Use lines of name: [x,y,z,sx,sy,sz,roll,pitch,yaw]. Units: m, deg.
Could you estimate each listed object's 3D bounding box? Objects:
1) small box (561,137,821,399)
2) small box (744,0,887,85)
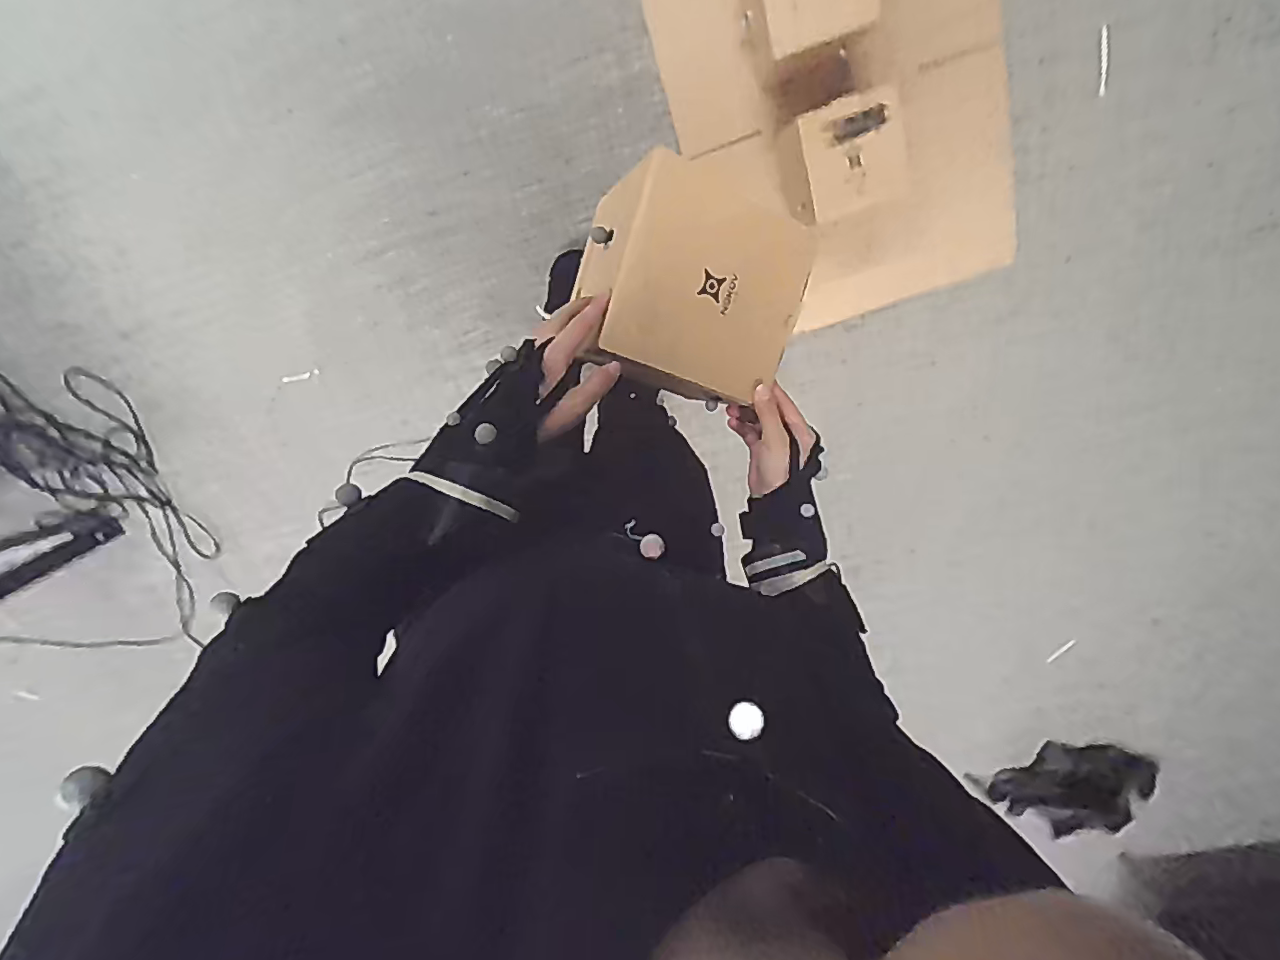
small box: [0.035,-0.183,0.528,0.179,0.176,0.168,14,96,-23]
small box: [0.283,-0.800,0.900,0.179,0.176,0.168,-15,111,9]
